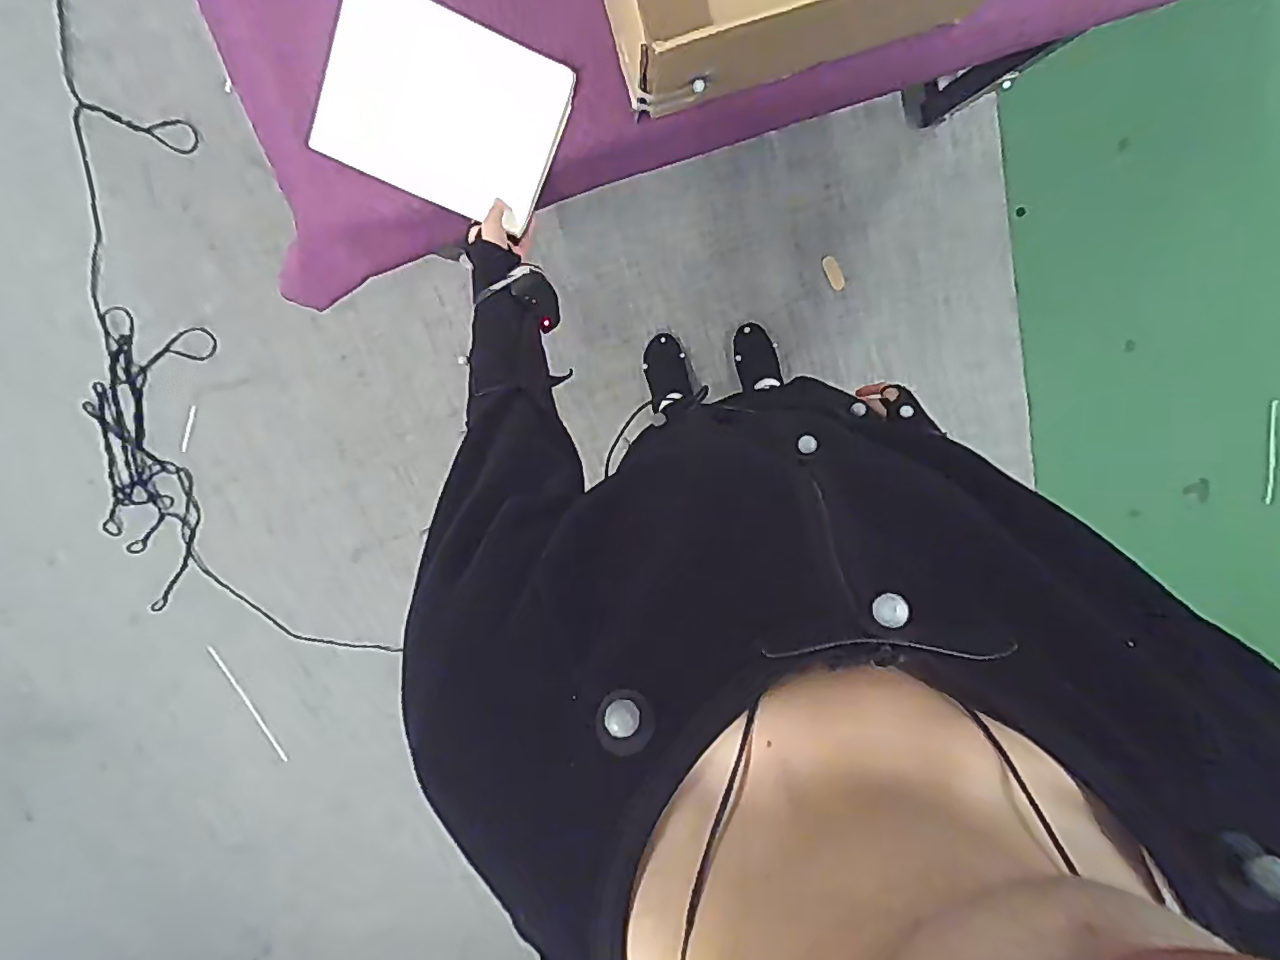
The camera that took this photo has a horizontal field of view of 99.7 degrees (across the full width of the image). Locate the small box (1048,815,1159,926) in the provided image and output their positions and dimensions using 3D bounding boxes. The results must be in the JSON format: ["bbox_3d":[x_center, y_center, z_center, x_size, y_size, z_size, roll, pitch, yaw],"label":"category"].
[{"bbox_3d":[1.222,1.018,1.412,0.168,0.176,0.179,-30,104,8],"label":"small box"}]

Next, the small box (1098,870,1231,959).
[{"bbox_3d":[1.221,1.066,1.256,0.179,0.176,0.168,-32,103,8],"label":"small box"}]
